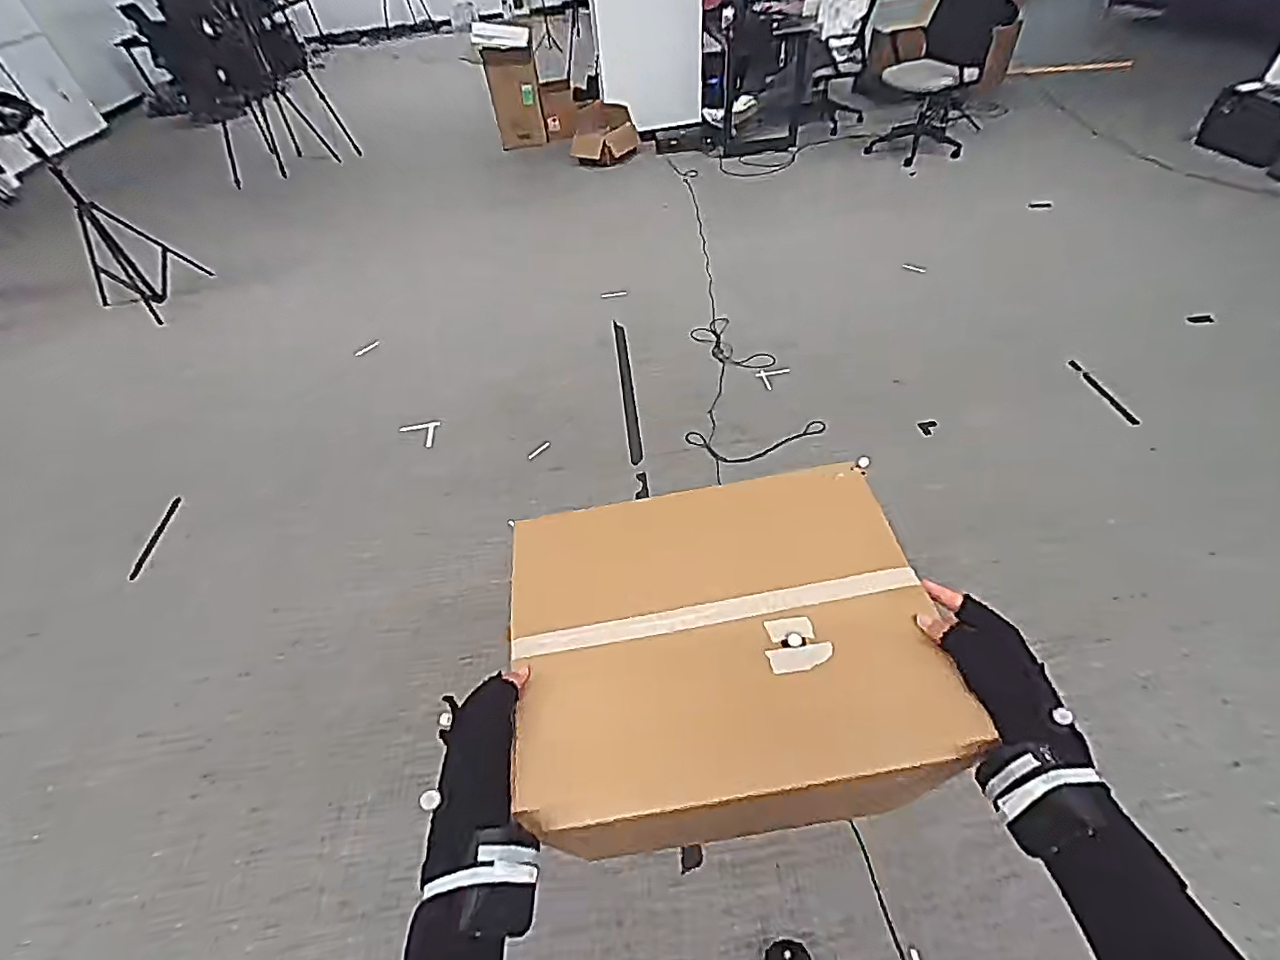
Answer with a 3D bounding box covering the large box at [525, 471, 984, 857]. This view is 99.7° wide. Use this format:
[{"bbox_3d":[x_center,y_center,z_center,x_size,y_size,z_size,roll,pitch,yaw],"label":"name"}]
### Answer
[{"bbox_3d":[0.094,0.234,0.665,0.408,0.320,0.320,-10,52,0],"label":"large box"}]
